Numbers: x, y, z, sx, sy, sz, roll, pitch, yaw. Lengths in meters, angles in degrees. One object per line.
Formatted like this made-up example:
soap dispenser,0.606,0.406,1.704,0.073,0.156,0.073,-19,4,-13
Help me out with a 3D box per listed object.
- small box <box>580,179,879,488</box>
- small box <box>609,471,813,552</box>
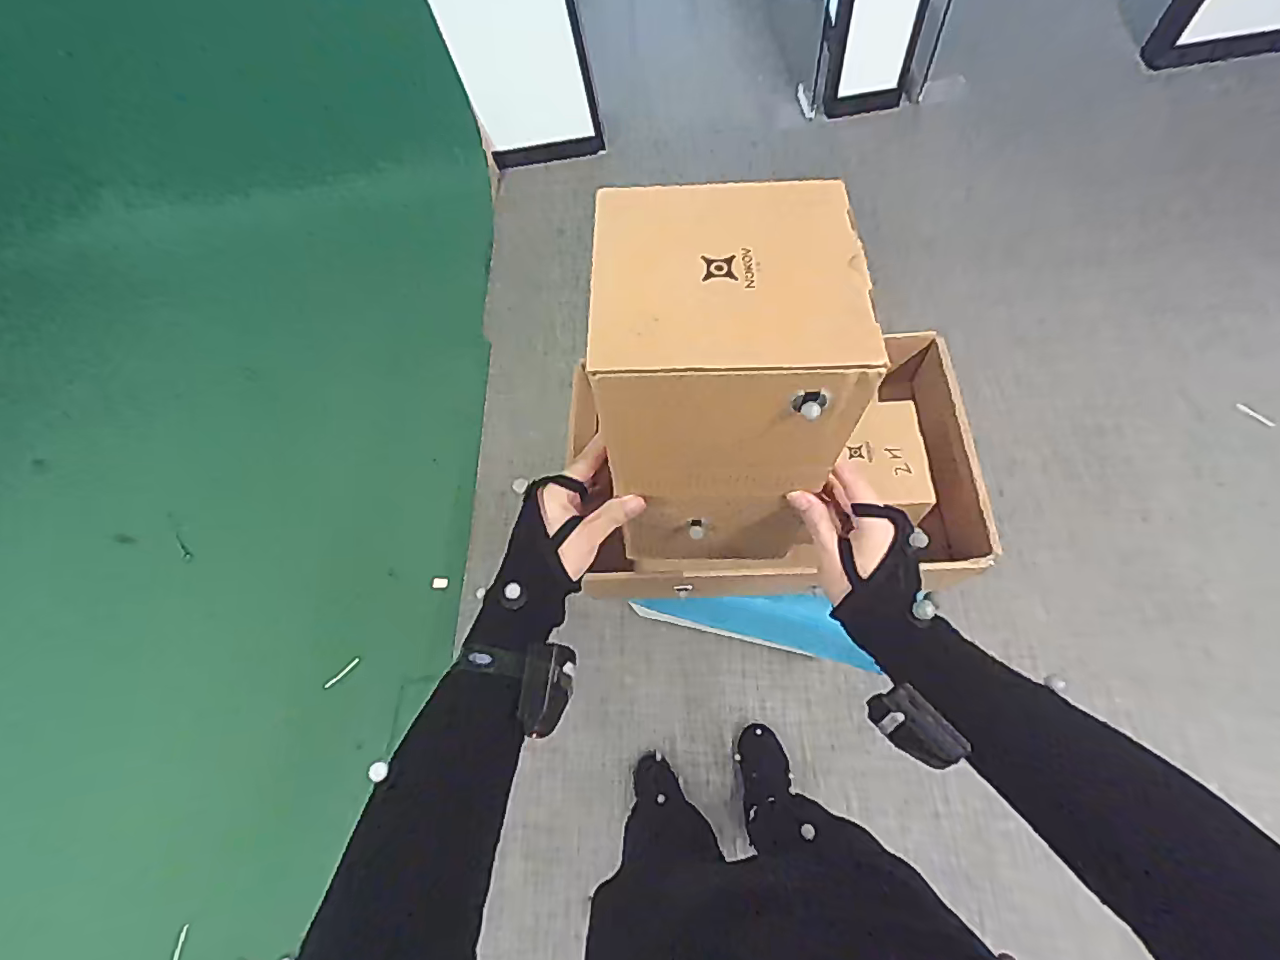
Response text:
small box,0.056,-0.101,0.418,0.179,0.176,0.168,-1,63,2
small box,0.067,-0.028,0.564,0.179,0.176,0.168,-1,64,4
